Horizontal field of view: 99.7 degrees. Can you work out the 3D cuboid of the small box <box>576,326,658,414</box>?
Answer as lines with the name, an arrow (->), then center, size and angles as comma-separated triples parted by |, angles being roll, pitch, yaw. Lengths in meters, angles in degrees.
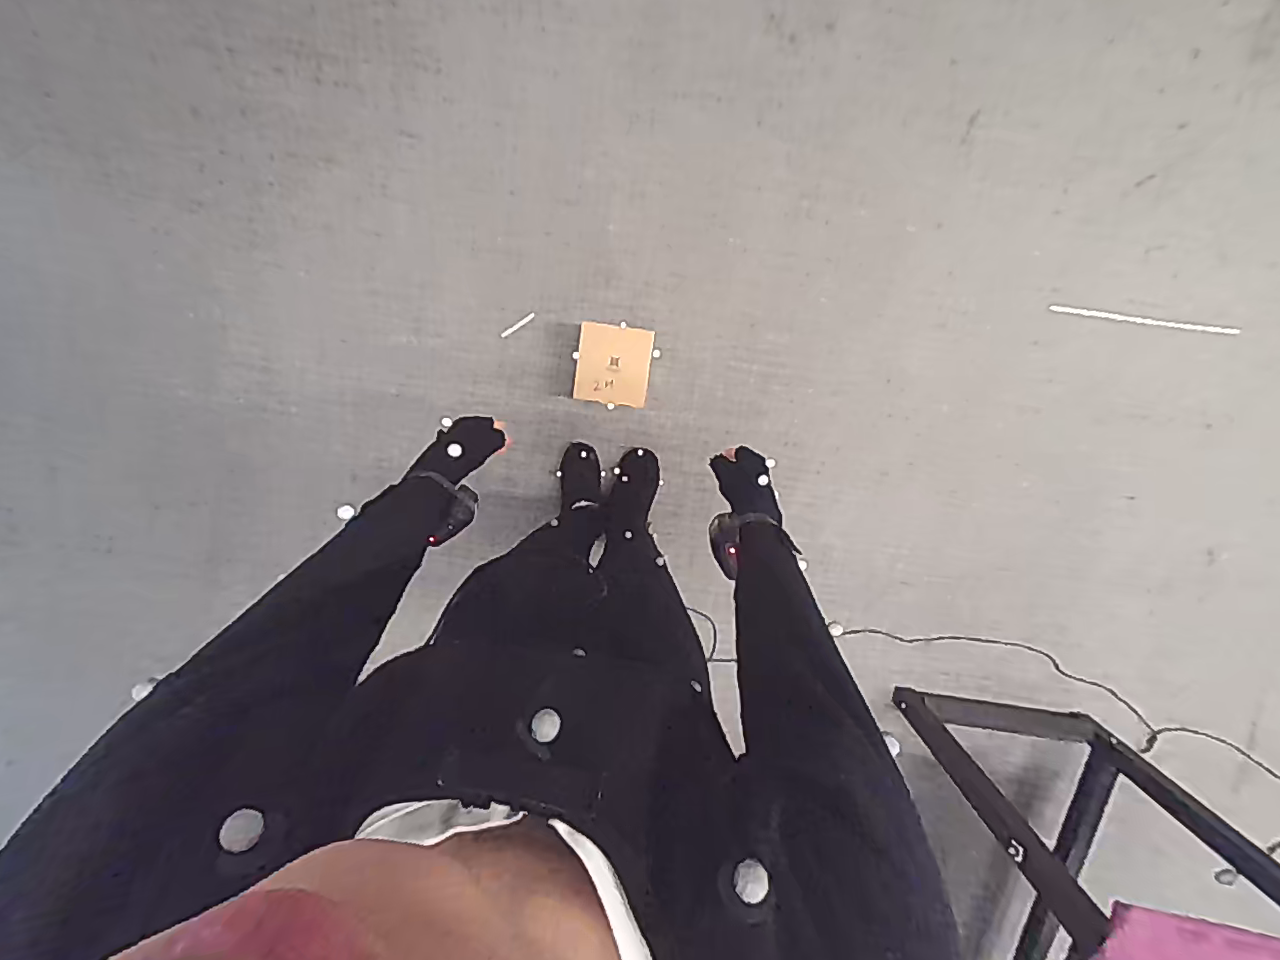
small box -> -0.053, -0.261, 1.292 | 0.168, 0.176, 0.179 | 8, 101, -1
